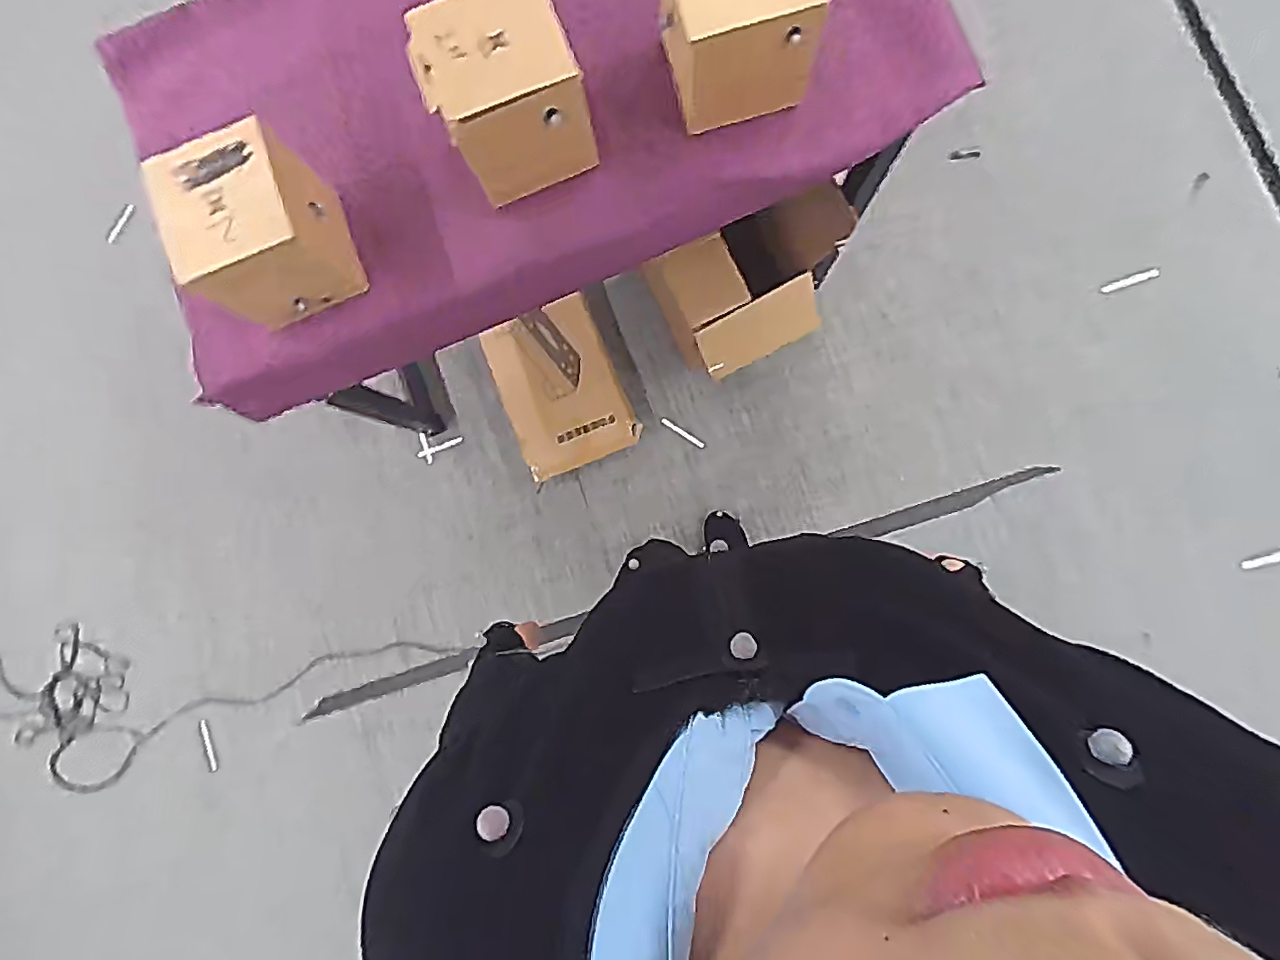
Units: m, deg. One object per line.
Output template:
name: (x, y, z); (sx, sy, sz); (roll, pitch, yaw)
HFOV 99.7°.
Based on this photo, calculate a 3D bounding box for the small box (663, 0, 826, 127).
small box: (0.130, -0.619, 0.726); (0.179, 0.176, 0.168); (-15, 86, 3)

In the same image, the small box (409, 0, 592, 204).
small box: (-0.174, -0.523, 0.740); (0.179, 0.176, 0.168); (-22, 83, 2)
